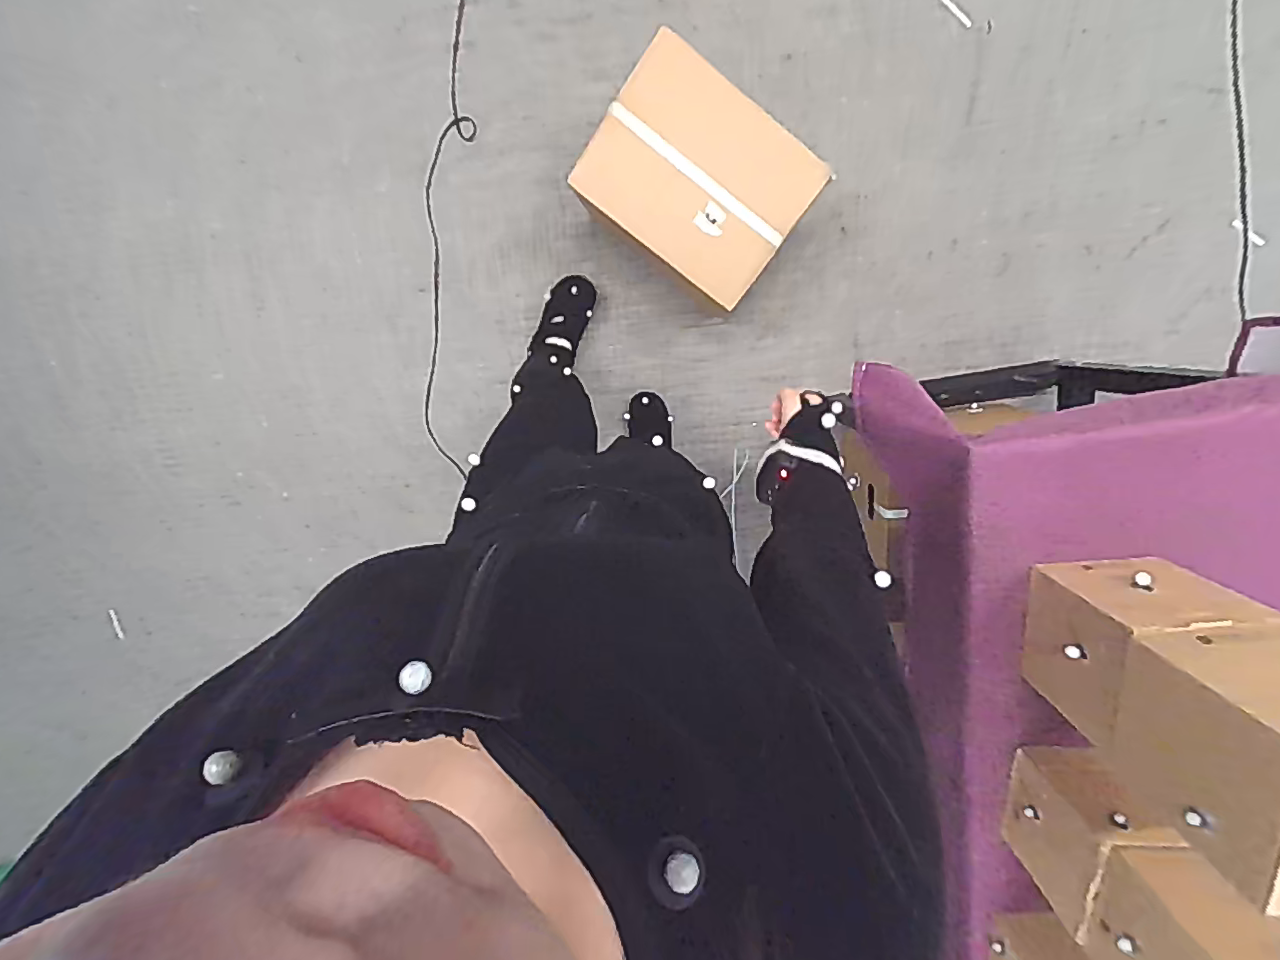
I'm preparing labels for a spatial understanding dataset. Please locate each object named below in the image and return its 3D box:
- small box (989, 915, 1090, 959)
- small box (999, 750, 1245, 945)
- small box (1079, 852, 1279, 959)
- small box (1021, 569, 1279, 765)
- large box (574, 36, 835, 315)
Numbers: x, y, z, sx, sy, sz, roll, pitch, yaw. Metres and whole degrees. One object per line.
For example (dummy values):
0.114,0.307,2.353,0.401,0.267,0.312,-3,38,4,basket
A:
0.670,0.815,0.836,0.179,0.176,0.168,-5,105,3,small box
0.650,0.505,0.755,0.179,0.176,0.168,1,105,3,small box
0.649,0.549,0.596,0.179,0.176,0.168,2,105,3,small box
0.615,0.220,0.676,0.168,0.176,0.179,-4,104,5,small box
0.122,-0.604,1.161,0.408,0.320,0.320,36,105,-8,large box
